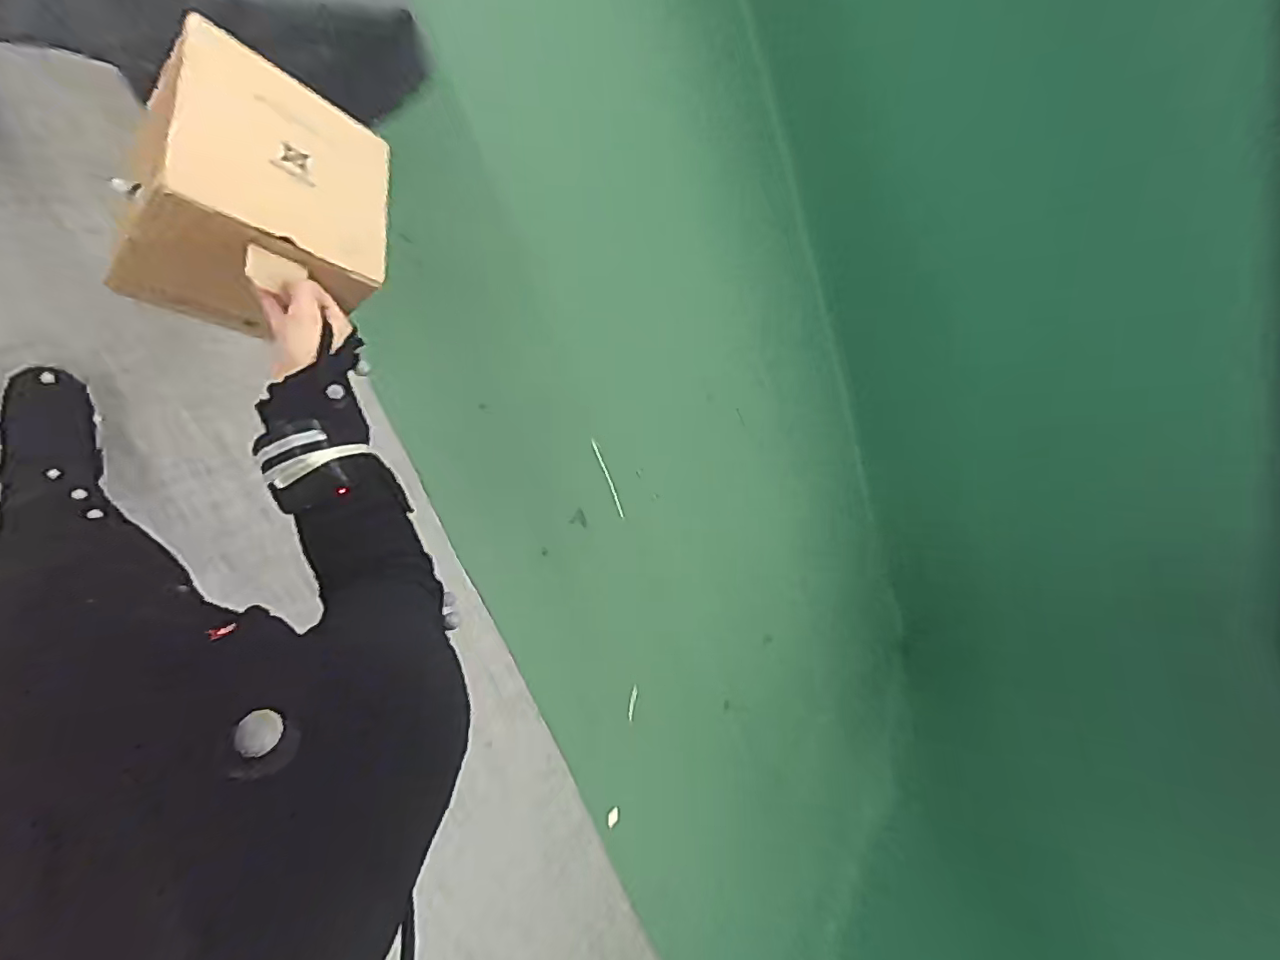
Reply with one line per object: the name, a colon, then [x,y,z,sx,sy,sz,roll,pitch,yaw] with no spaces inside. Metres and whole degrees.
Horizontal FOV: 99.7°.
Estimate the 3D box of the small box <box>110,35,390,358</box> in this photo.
small box: [-0.363,-0.241,0.513,0.168,0.176,0.179,17,61,-53]
